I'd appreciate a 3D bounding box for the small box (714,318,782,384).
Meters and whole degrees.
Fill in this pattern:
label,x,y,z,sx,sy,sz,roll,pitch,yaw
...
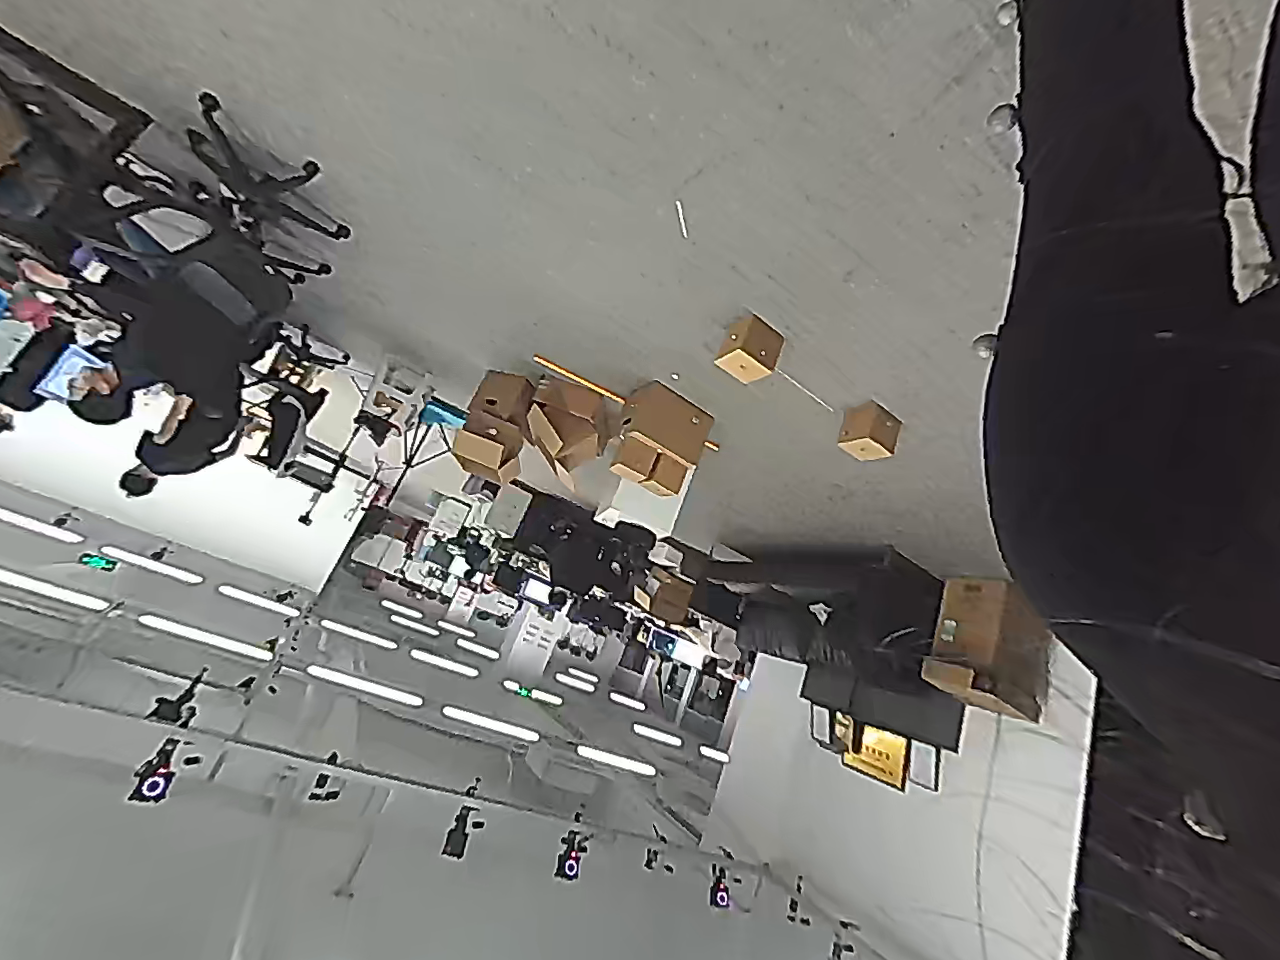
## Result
label,x,y,z,sx,sy,sz,roll,pitch,yaw
small box,0.422,-0.505,2.100,0.179,0.176,0.168,28,162,-22

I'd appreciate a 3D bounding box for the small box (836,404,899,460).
label,x,y,z,sx,sy,sz,roll,pitch,yaw
small box,0.988,-0.207,2.345,0.168,0.176,0.179,28,162,-22
